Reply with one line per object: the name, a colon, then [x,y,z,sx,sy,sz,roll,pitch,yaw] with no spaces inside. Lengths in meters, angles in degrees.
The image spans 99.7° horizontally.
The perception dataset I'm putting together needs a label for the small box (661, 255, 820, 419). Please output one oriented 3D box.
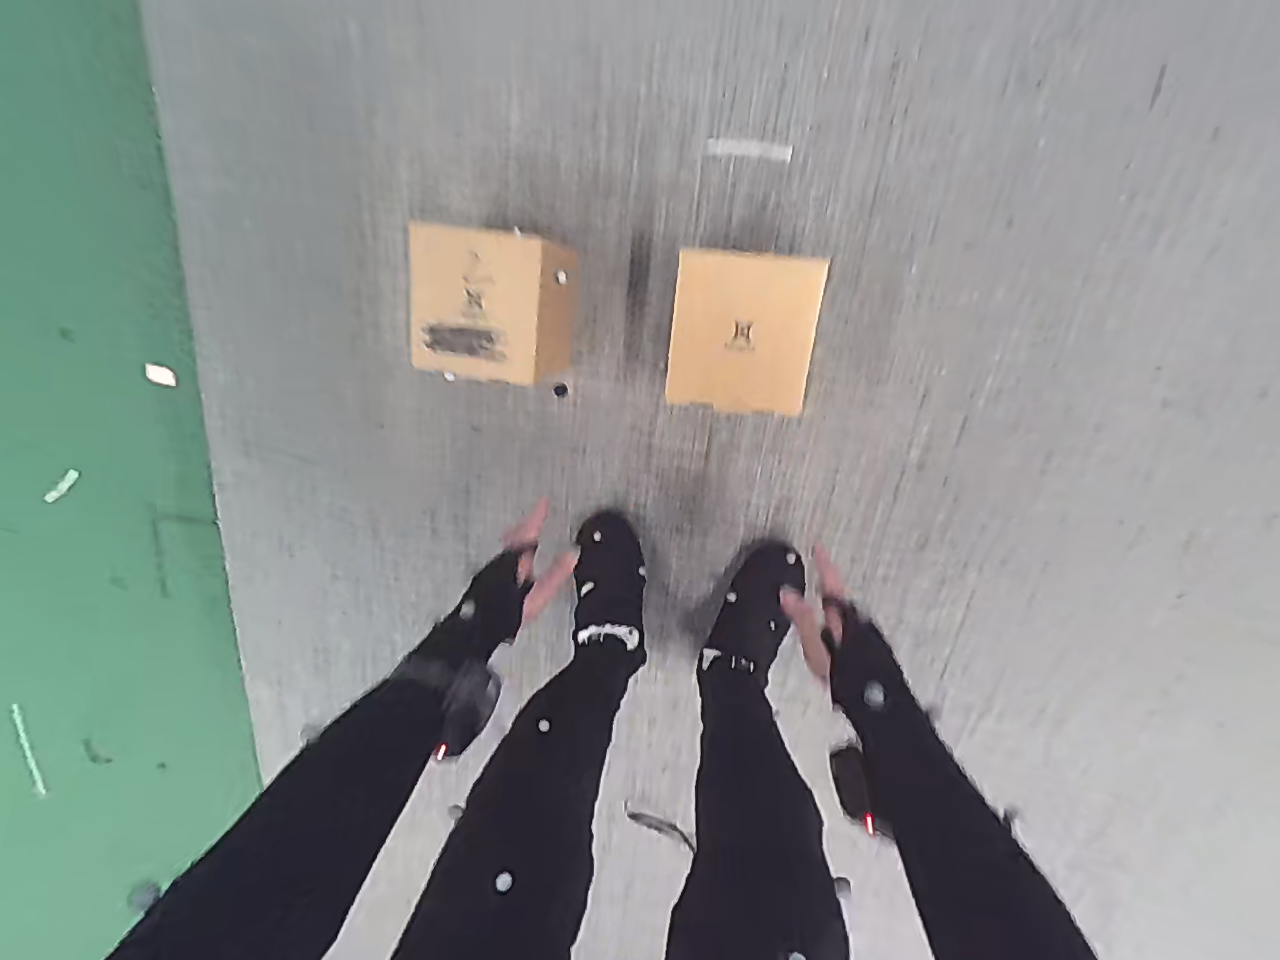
small box: [0.124,-0.190,0.705,0.168,0.176,0.179,7,110,8]
